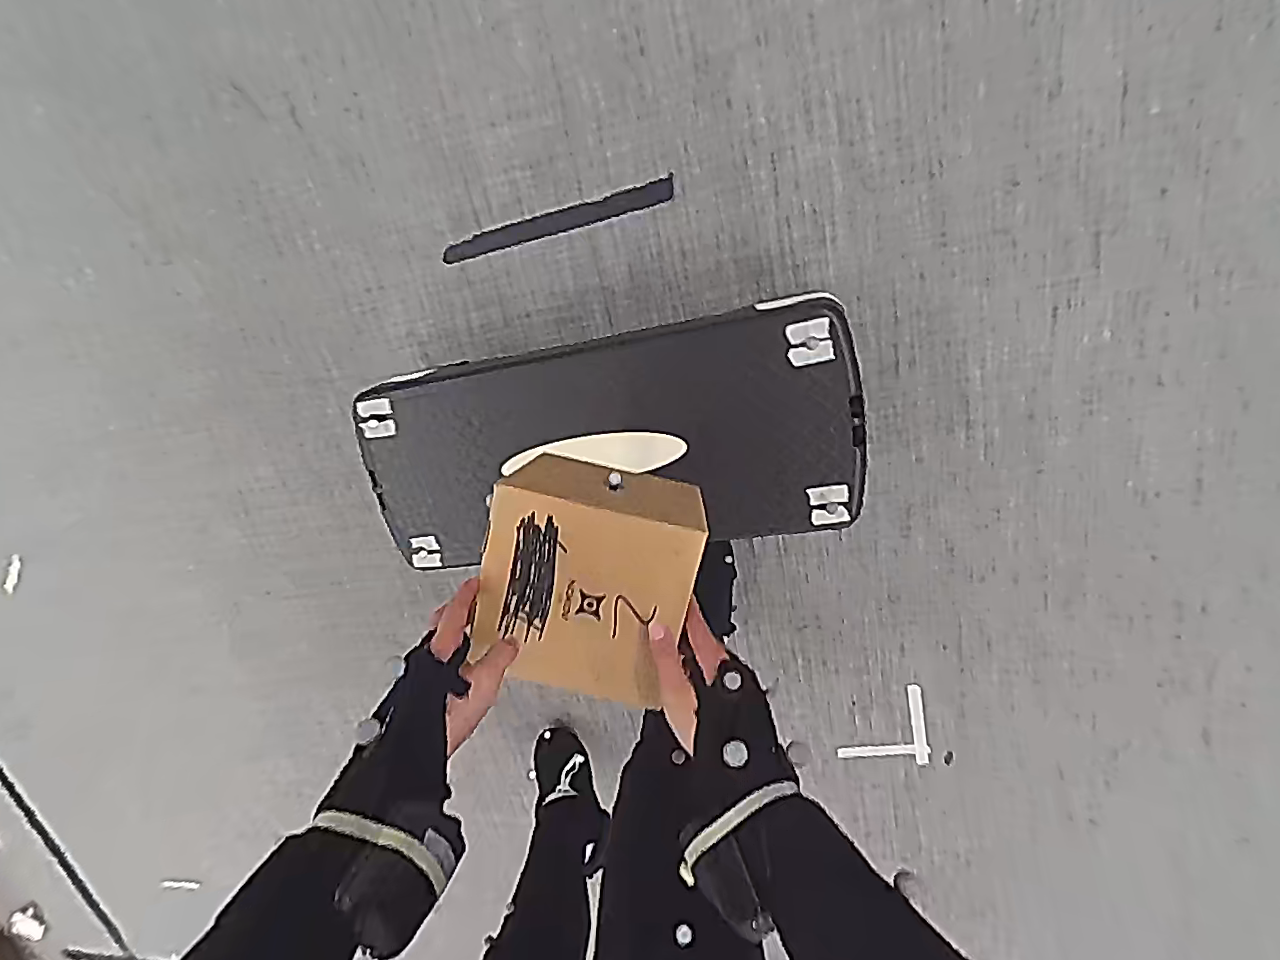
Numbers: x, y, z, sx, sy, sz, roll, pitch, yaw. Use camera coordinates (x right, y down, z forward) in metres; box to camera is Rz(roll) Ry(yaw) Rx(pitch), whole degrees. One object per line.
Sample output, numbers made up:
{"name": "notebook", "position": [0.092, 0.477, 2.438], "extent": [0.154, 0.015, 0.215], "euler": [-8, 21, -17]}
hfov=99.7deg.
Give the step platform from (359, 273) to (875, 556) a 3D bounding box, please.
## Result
{"name": "step platform", "position": [-0.039, -0.079, 0.766], "extent": [0.684, 0.204, 0.286], "euler": [-8, 107, 14]}
